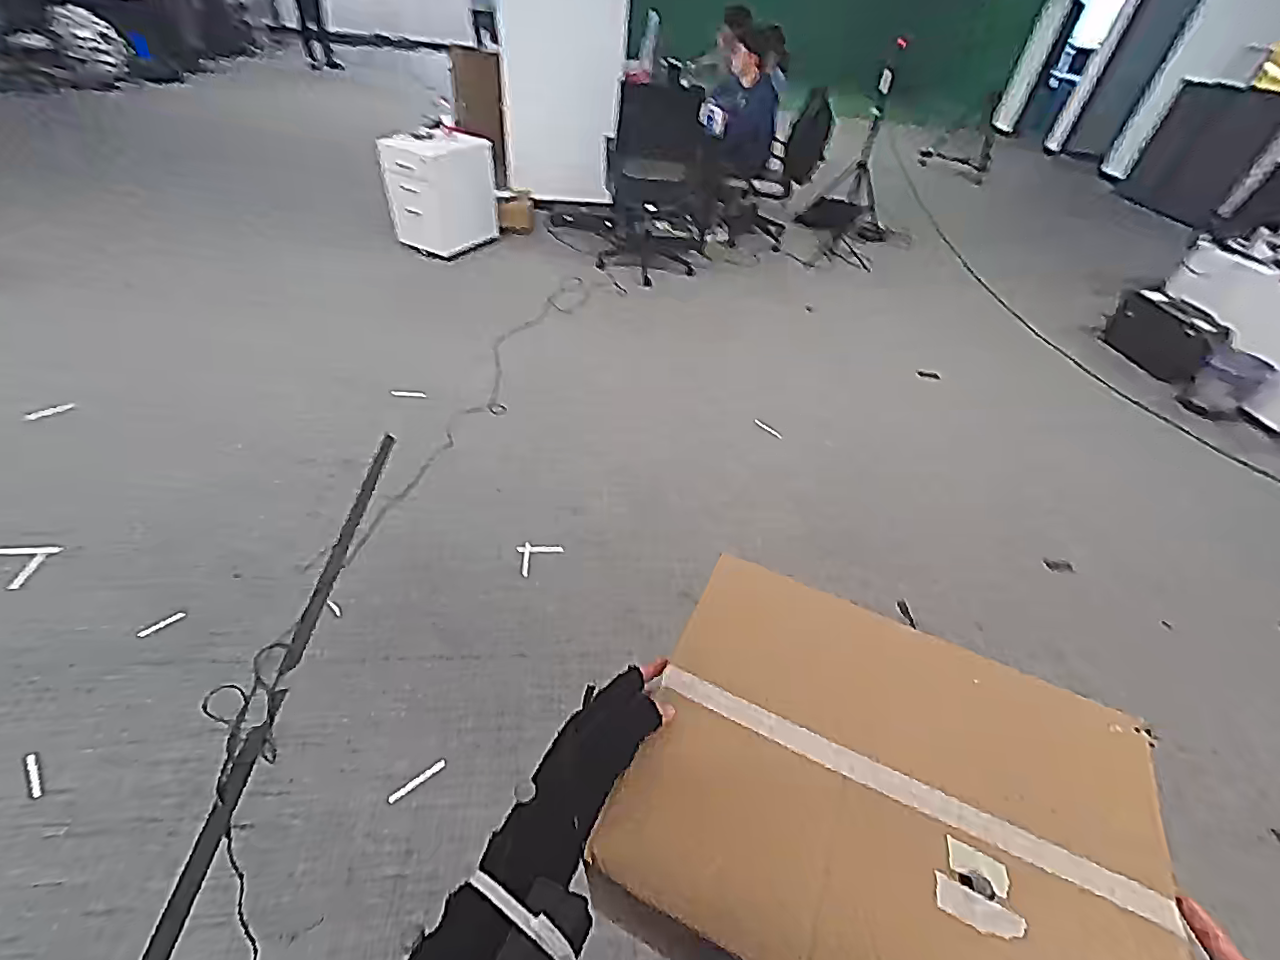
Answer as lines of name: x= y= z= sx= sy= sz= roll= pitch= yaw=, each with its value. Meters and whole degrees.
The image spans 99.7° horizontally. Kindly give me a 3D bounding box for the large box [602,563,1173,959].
large box: x=0.202 y=0.355 z=0.563 sx=0.408 sy=0.320 sz=0.320 roll=21 pitch=50 yaw=16
